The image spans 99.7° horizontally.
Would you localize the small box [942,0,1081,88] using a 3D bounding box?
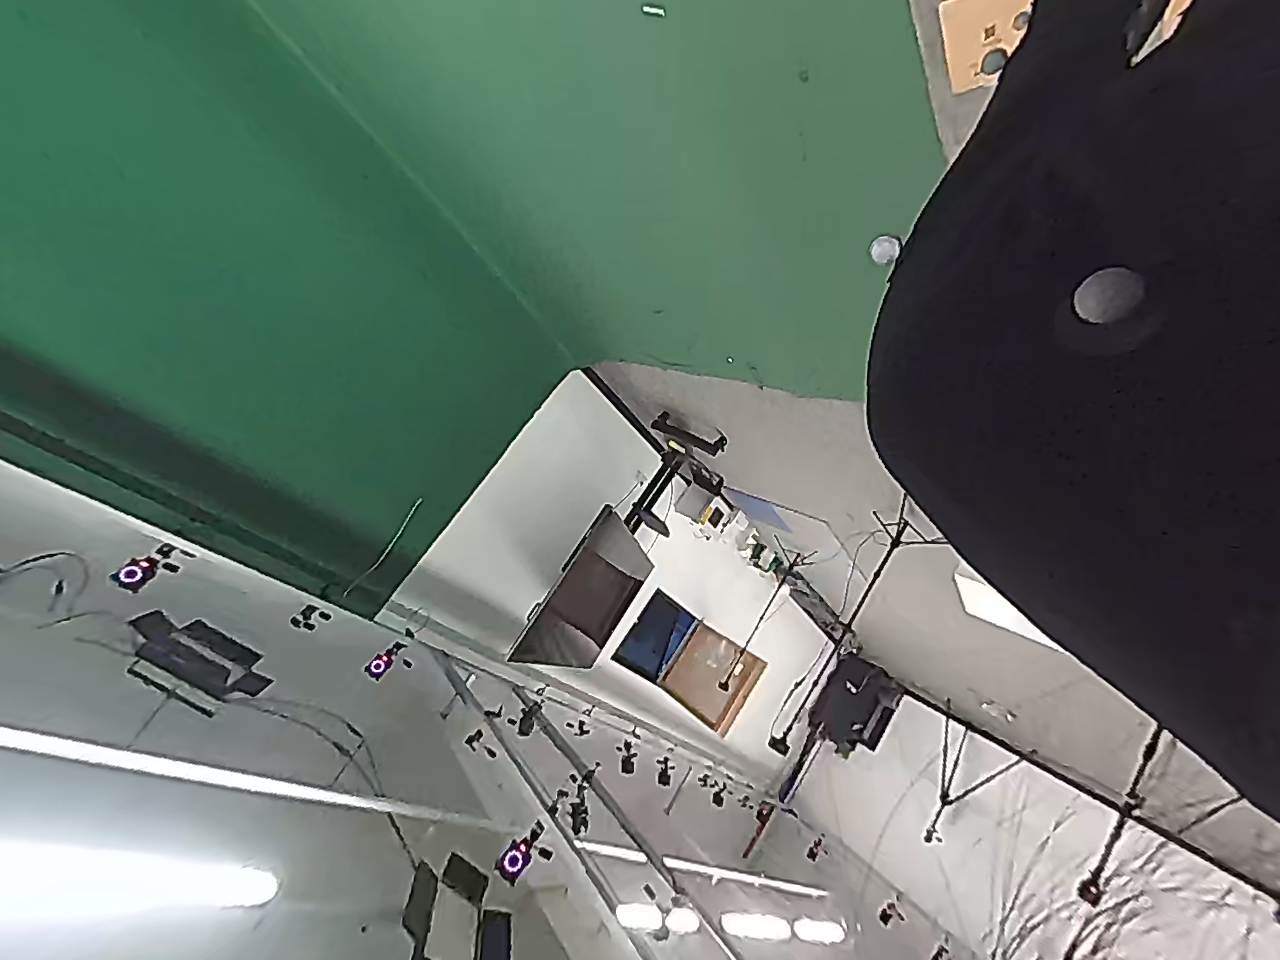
[{"bbox_3d":[0.709,-0.905,1.028,0.168,0.176,0.179,24,163,48],"label":"small box"}]
